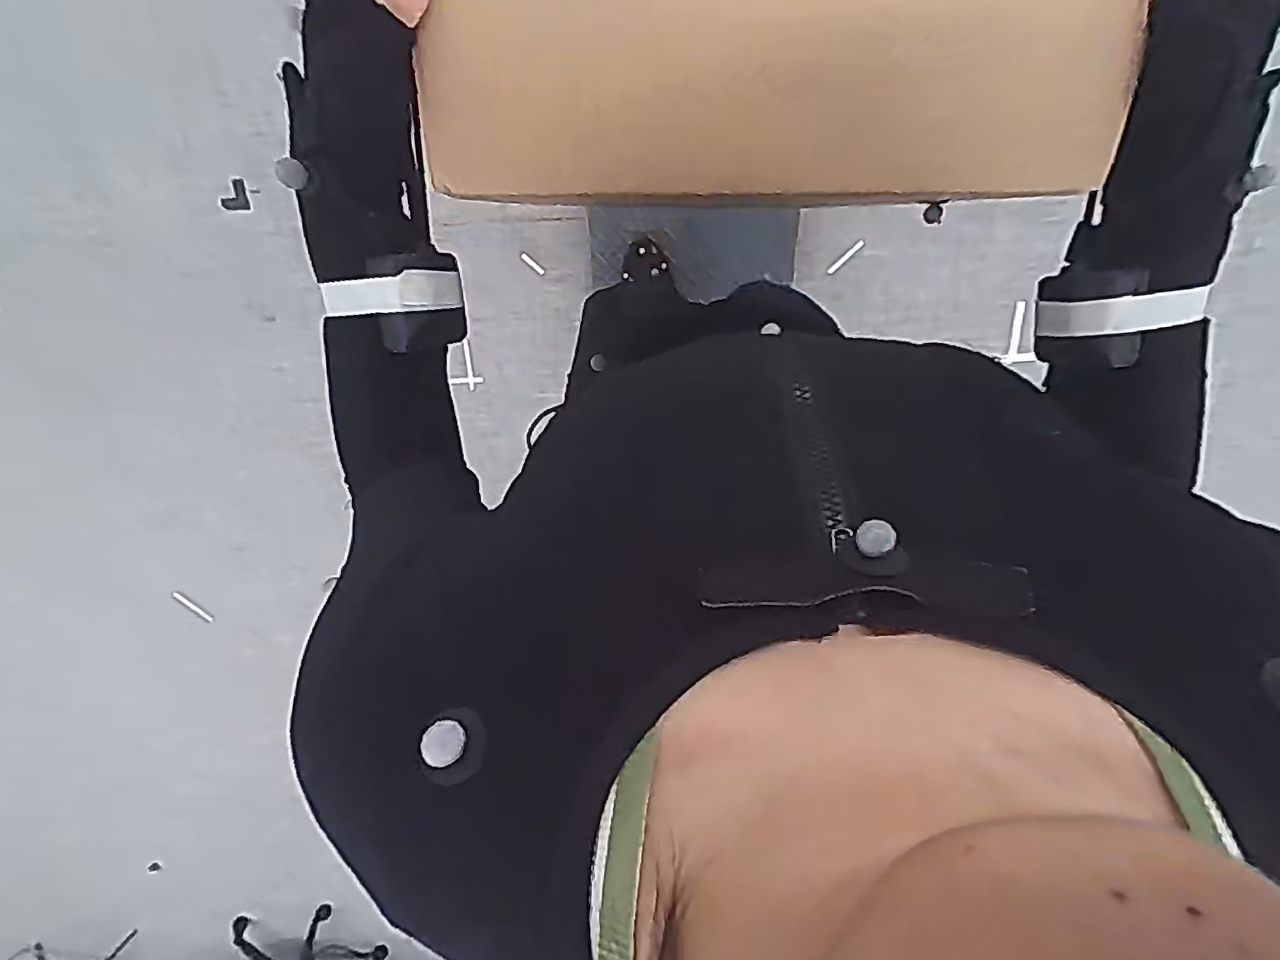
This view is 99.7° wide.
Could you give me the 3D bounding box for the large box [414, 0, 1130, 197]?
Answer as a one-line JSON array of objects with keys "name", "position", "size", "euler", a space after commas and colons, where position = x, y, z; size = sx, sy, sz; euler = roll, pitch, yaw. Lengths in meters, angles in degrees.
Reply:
[{"name": "large box", "position": [0.074, -0.387, 0.402], "size": [0.408, 0.320, 0.320], "euler": [0, 116, 0]}]
